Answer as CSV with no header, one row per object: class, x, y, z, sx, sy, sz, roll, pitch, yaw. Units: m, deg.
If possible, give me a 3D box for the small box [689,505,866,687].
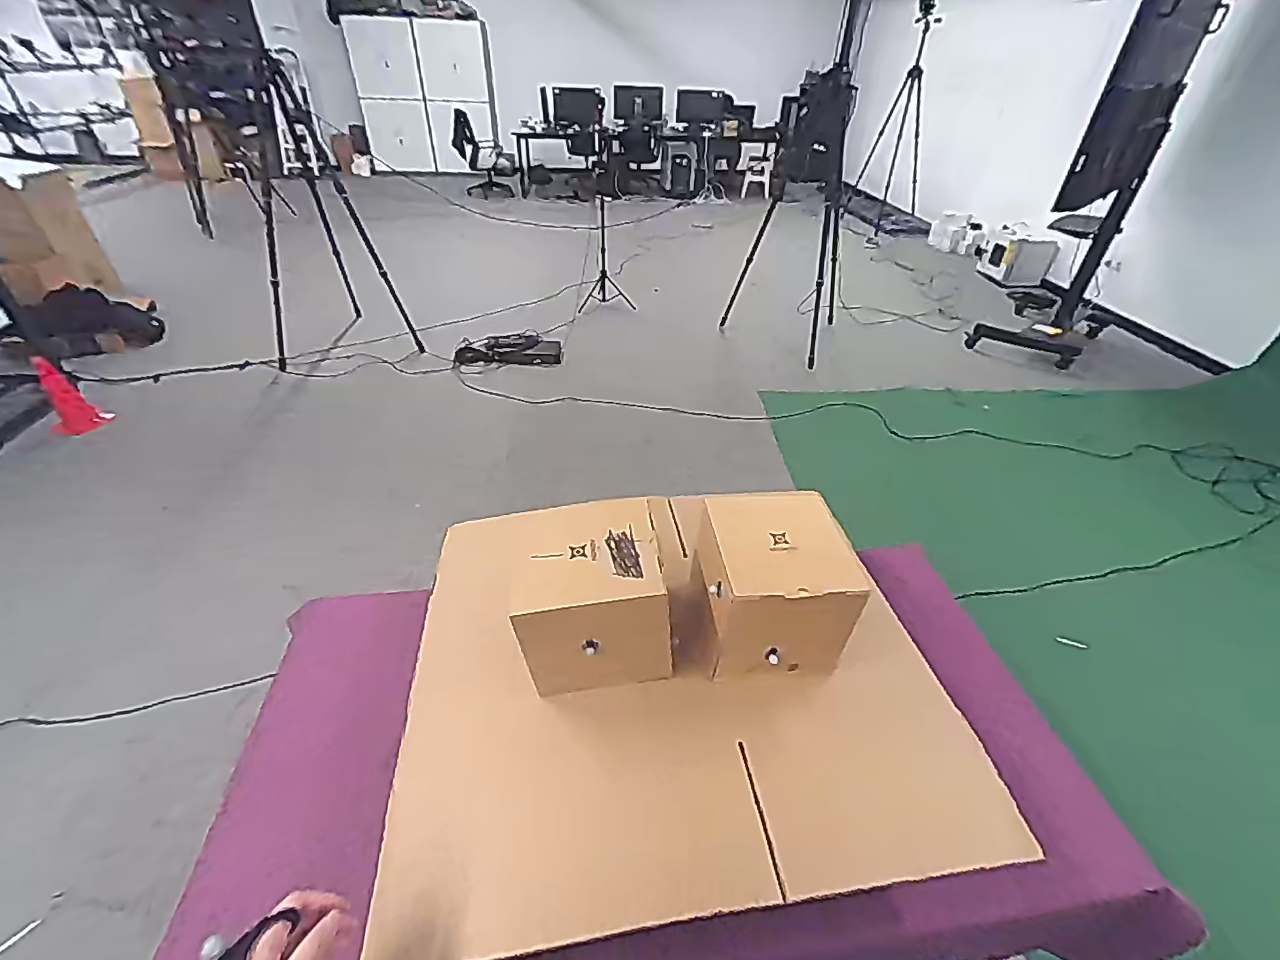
small box,0.166,0.152,0.727,0.168,0.176,0.179,-1,38,-7
